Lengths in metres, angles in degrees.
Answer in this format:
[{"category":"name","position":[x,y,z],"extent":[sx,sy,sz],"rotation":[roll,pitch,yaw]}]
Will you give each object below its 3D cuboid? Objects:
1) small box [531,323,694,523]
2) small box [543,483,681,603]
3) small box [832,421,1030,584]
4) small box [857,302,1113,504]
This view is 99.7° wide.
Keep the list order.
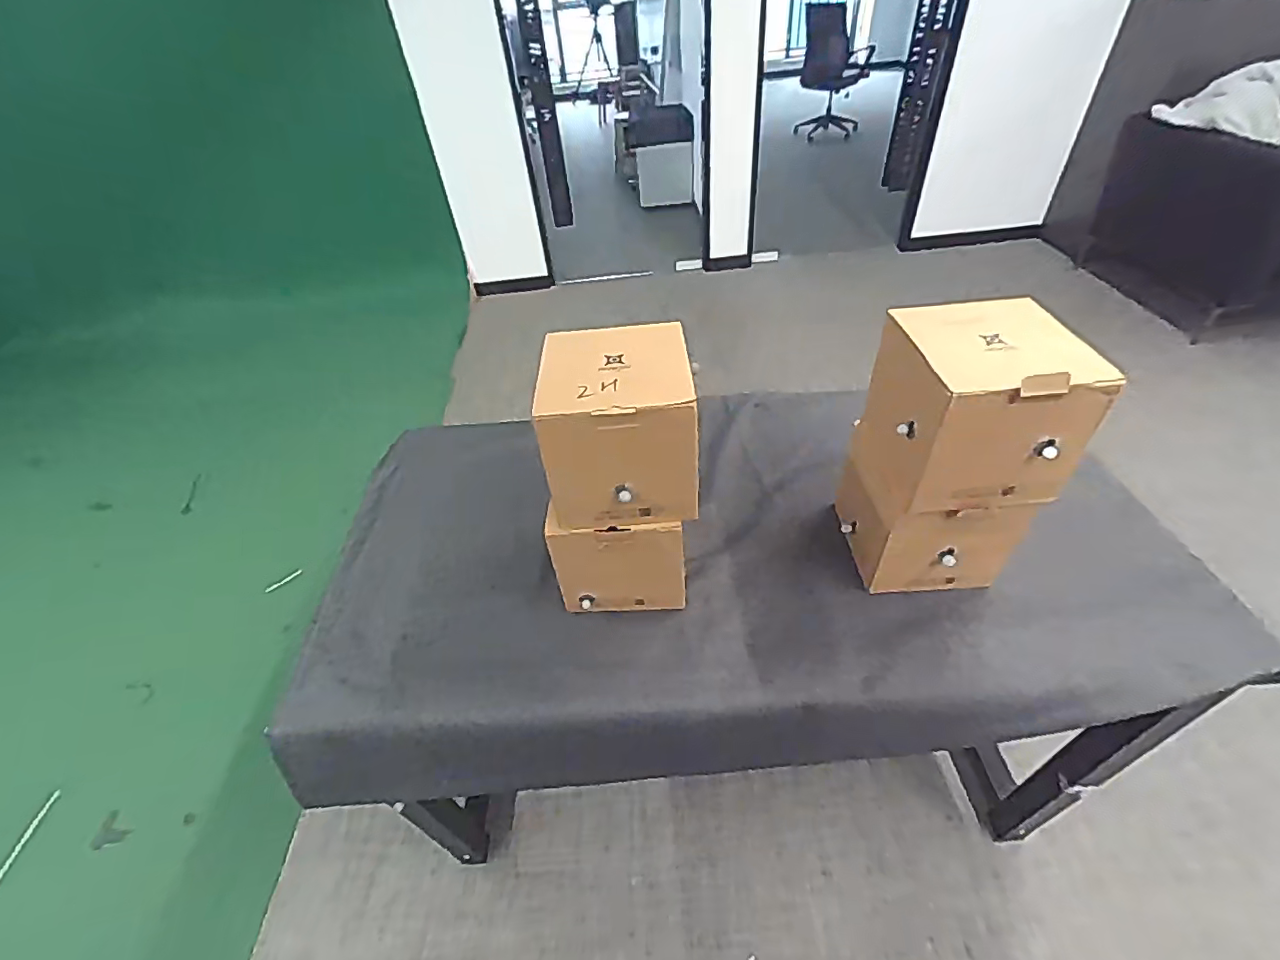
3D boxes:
[{"category":"small box","position":[-0.025,-0.069,0.651],"extent":[0.168,0.176,0.179],"rotation":[-5,43,2]},{"category":"small box","position":[-0.028,0.058,0.757],"extent":[0.168,0.176,0.179],"rotation":[-2,42,4]},{"category":"small box","position":[0.378,0.031,0.742],"extent":[0.168,0.176,0.179],"rotation":[-3,43,3]},{"category":"small box","position":[0.372,-0.084,0.626],"extent":[0.168,0.176,0.179],"rotation":[-4,42,1]}]
